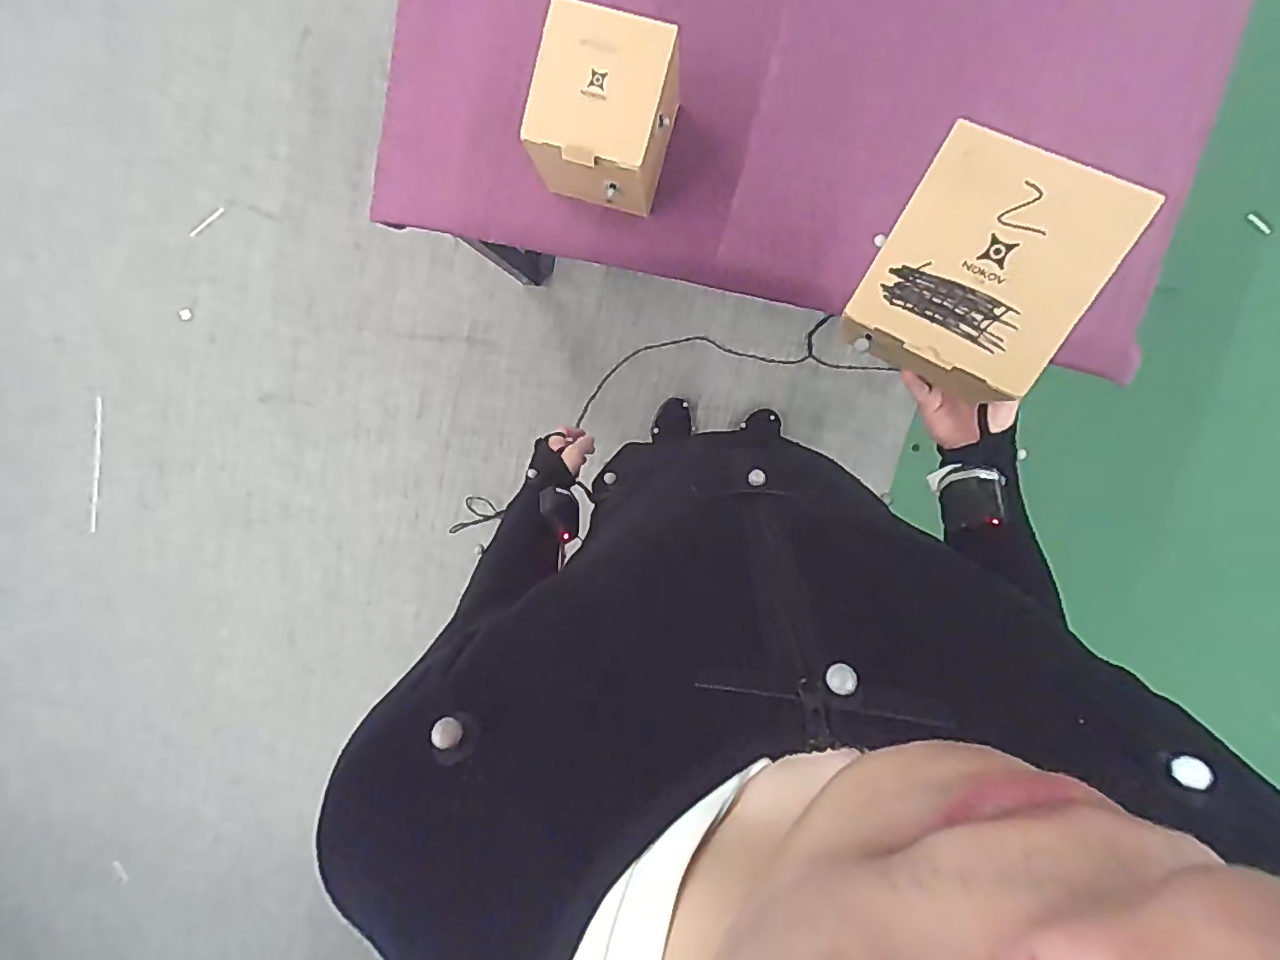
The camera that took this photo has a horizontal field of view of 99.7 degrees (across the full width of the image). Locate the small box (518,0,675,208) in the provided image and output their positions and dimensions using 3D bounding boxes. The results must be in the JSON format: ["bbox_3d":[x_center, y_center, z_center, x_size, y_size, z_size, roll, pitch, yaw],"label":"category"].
[{"bbox_3d":[-0.050,-0.512,0.758,0.168,0.176,0.179,17,97,2],"label":"small box"}]
